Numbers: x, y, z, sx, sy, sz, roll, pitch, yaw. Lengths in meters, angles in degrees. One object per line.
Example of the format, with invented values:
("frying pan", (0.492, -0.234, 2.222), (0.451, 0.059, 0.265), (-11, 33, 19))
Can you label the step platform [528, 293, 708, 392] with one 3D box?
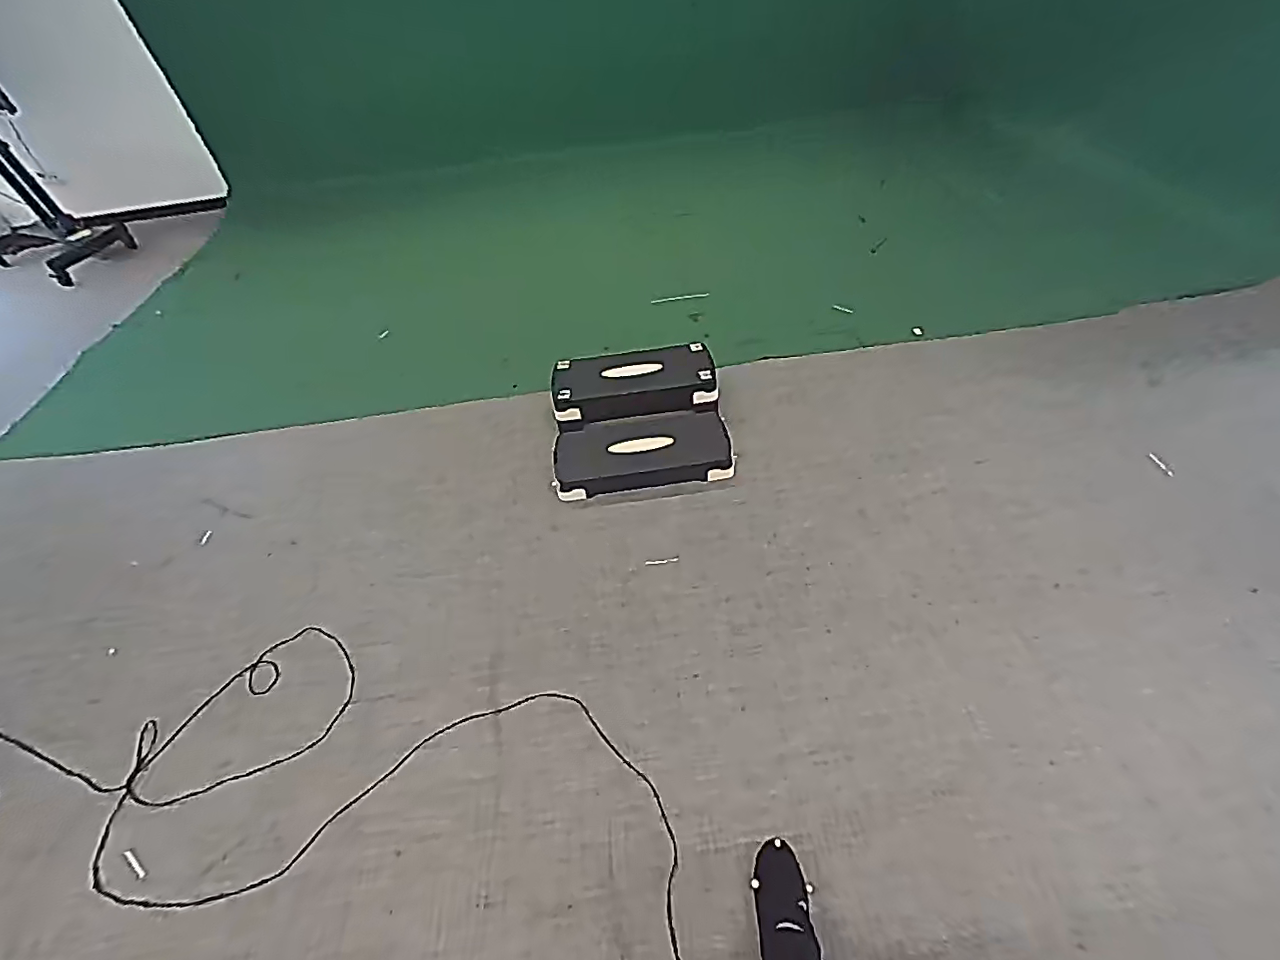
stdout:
("step platform", (-0.081, -0.540, 2.118), (0.684, 0.204, 0.286), (-8, 48, 0))
